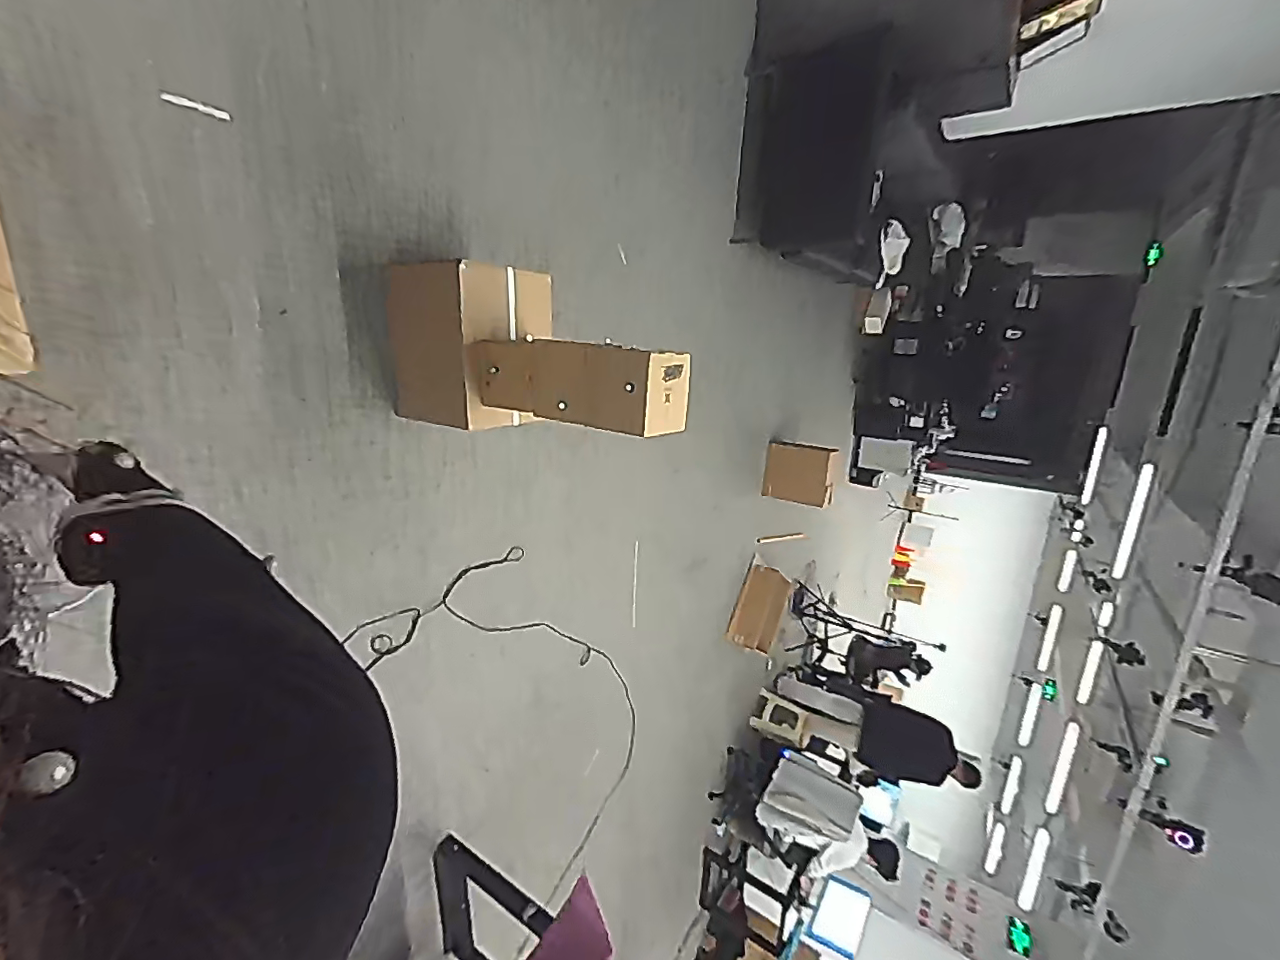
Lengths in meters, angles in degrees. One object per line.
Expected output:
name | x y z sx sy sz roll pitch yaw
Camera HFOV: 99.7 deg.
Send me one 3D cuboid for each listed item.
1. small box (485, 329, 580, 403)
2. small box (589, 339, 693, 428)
small box | -0.272 -0.297 1.381 0.179 0.176 0.168 -21 119 -51
small box | 0.000 -0.221 1.210 0.168 0.176 0.179 -16 116 -52
